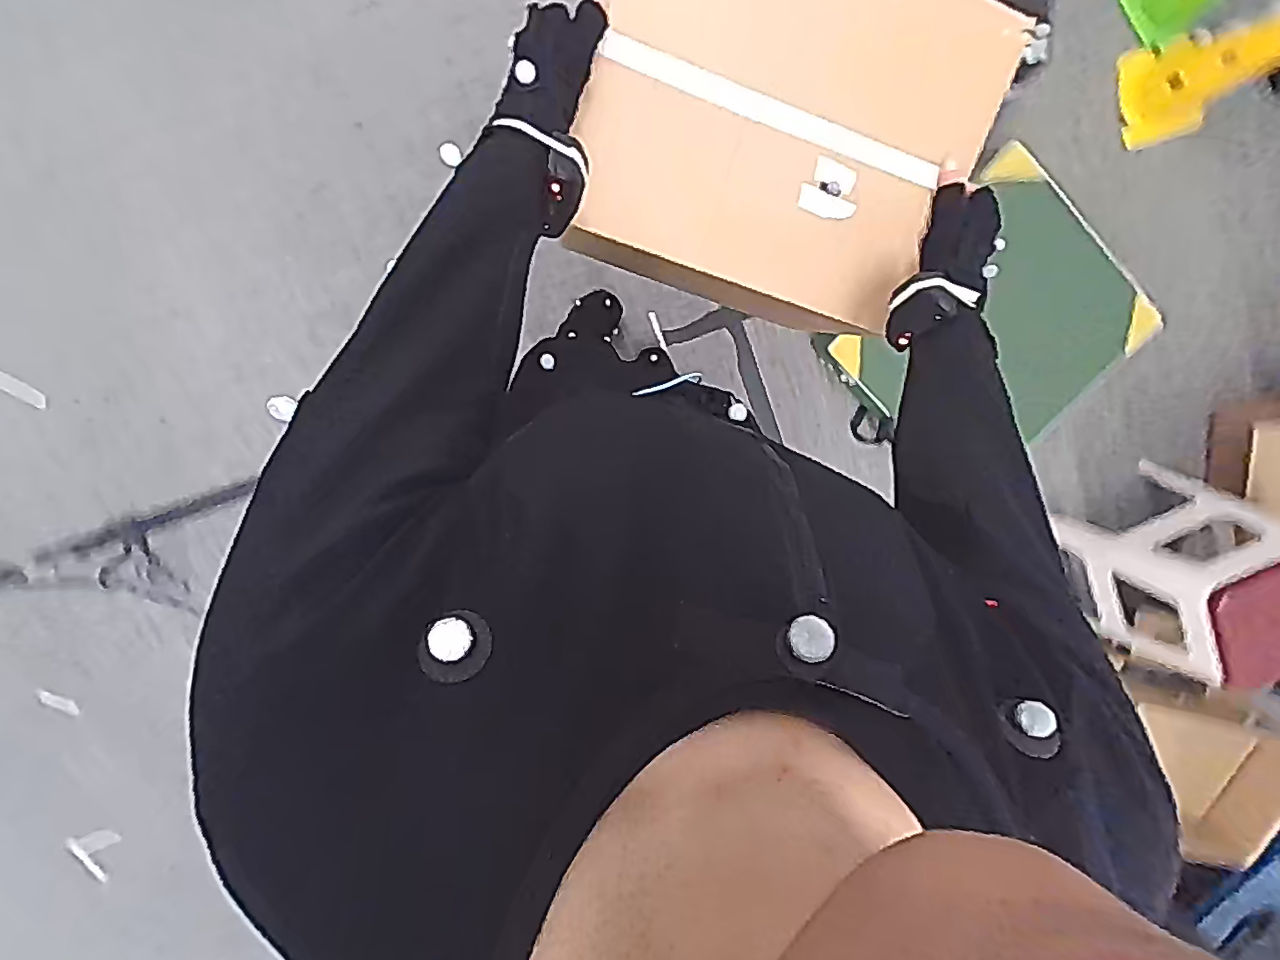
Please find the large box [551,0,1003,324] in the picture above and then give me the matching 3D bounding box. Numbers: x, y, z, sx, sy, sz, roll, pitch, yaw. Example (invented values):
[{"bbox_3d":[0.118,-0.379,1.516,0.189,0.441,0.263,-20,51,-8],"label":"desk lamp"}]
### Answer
[{"bbox_3d":[0.119,-0.408,0.687,0.408,0.320,0.320,14,107,-10],"label":"large box"}]
